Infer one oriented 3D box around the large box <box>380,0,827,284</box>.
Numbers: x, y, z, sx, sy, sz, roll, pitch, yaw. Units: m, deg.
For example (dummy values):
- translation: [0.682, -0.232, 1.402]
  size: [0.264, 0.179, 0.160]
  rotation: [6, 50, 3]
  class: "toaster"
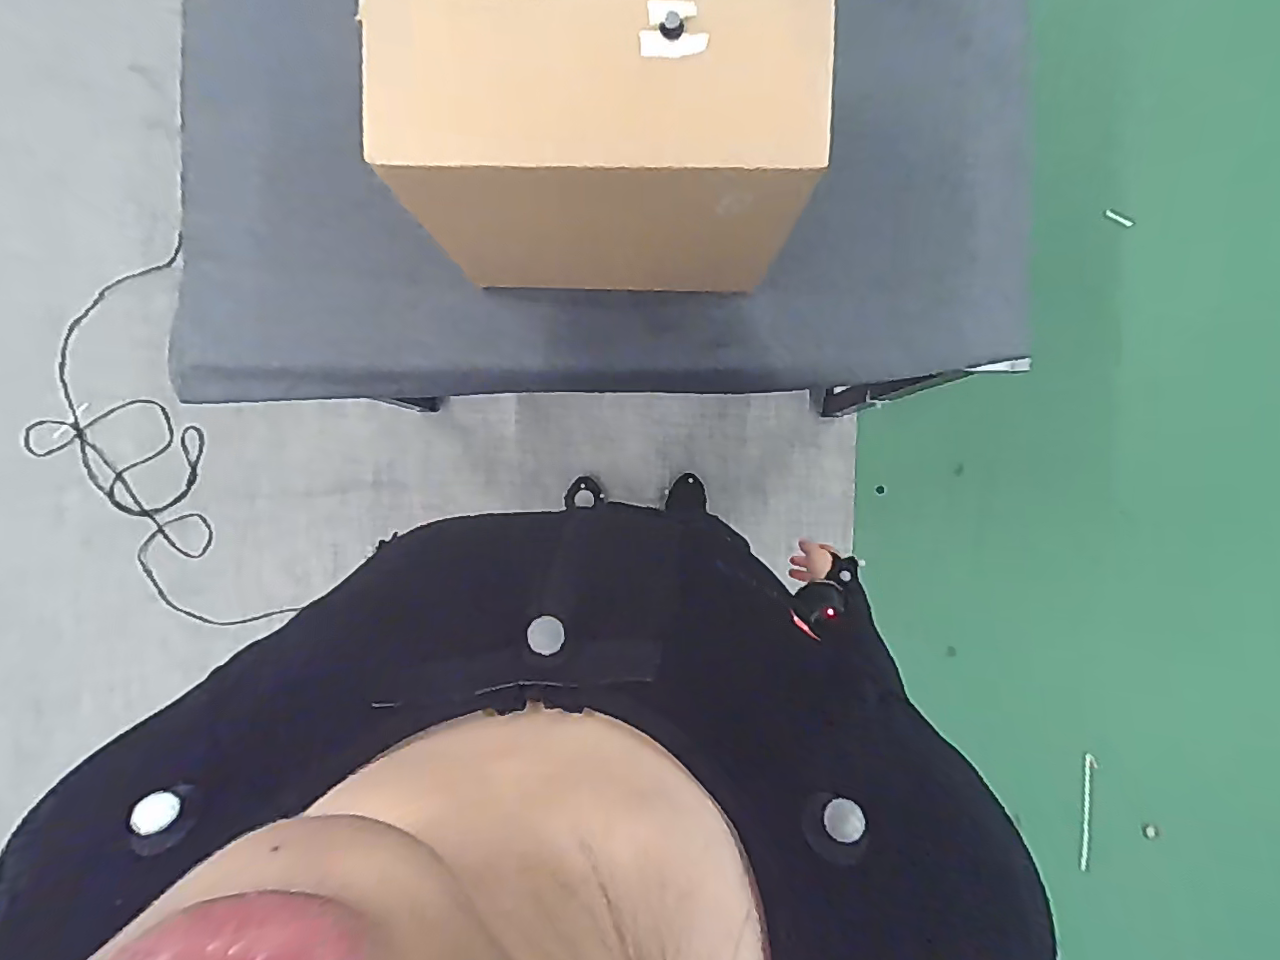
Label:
- translation: [-0.032, -0.435, 0.628]
  size: [0.408, 0.320, 0.320]
  rotation: [1, 91, 1]
  class: "large box"
